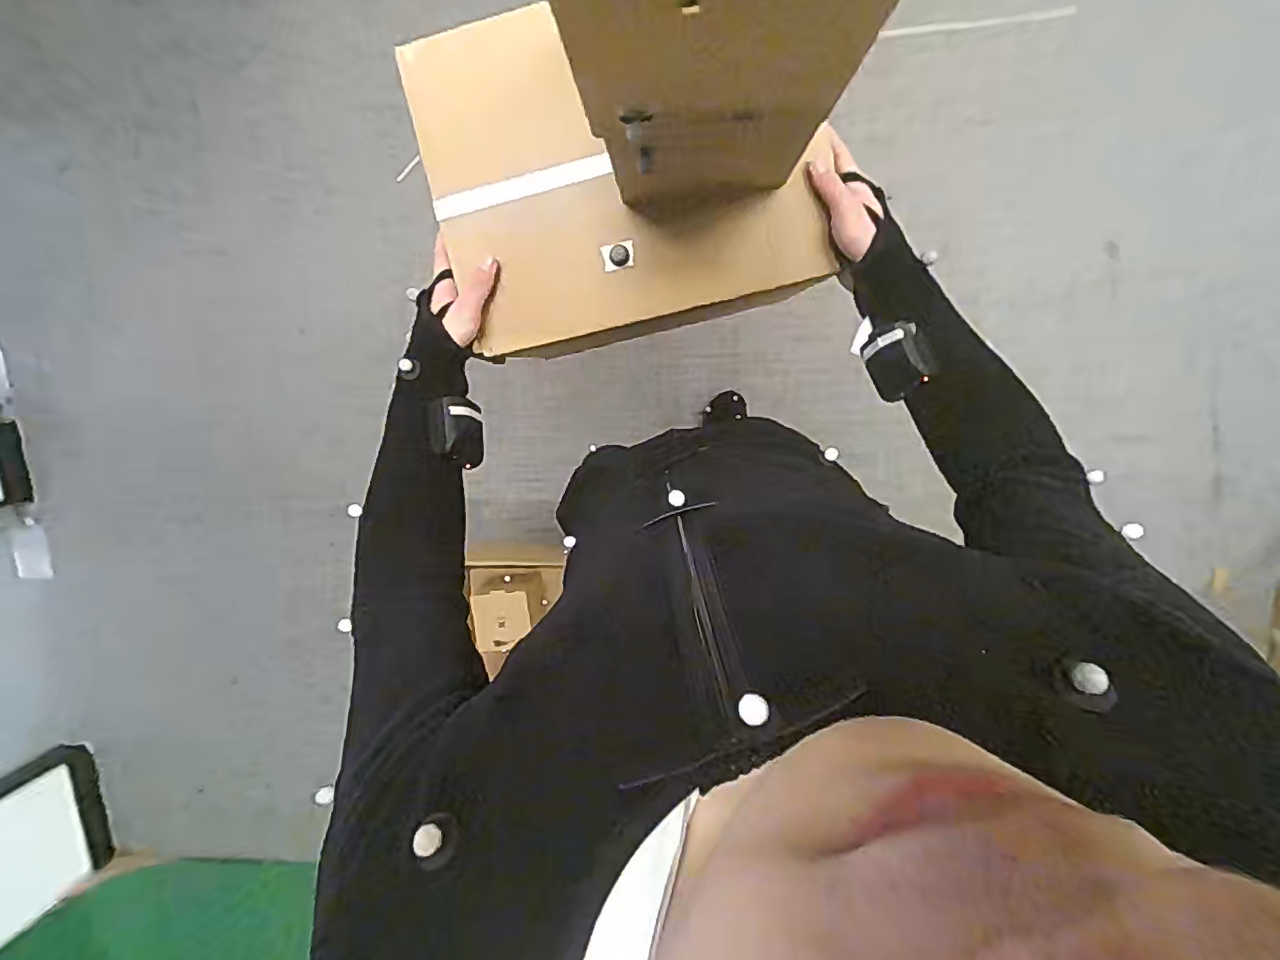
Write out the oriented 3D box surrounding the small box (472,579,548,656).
[{"bbox_3d":[-0.380,0.400,1.601,0.168,0.176,0.179,-6,99,6],"label":"small box"}]
